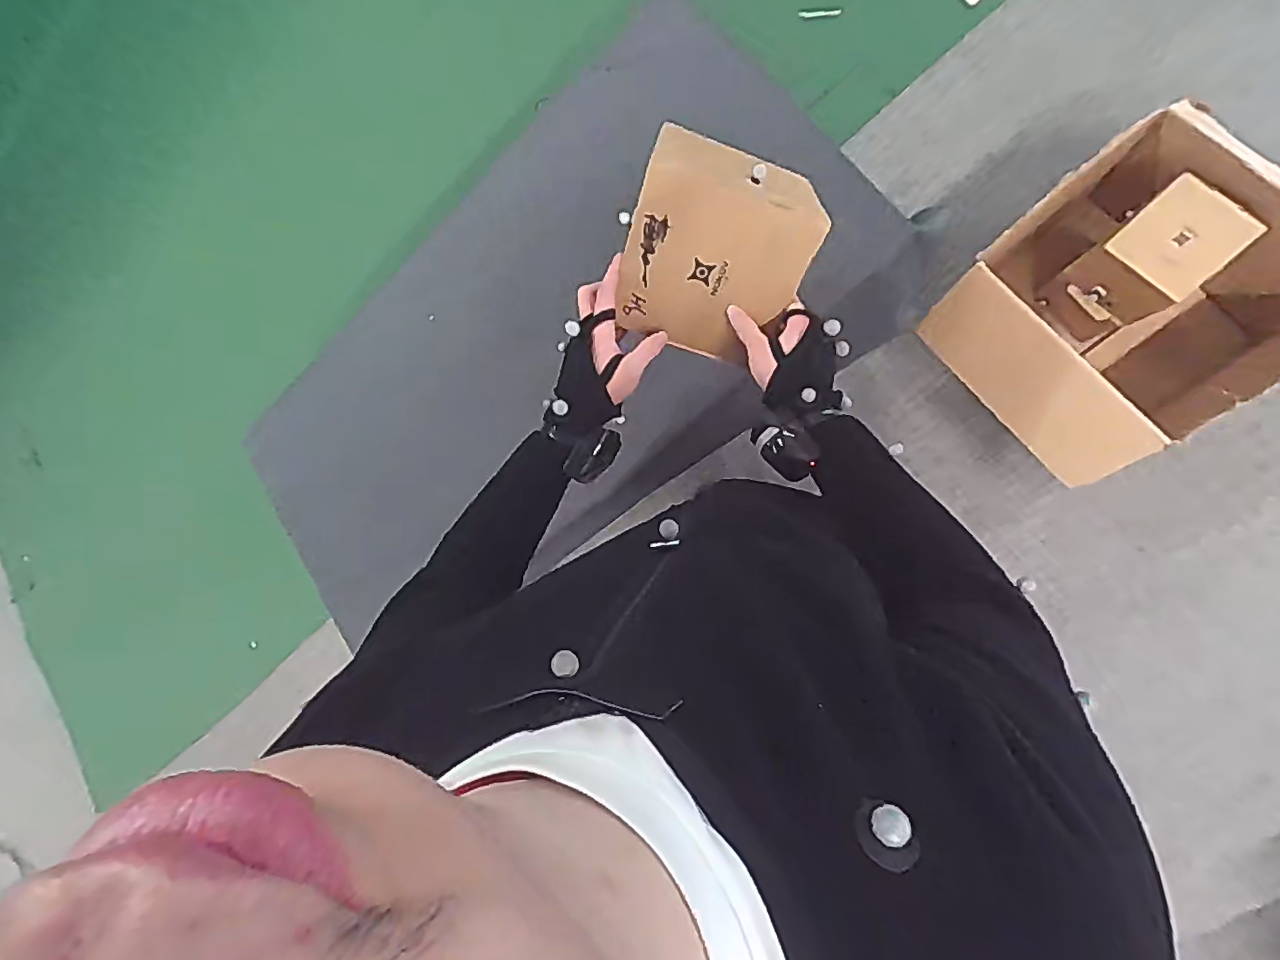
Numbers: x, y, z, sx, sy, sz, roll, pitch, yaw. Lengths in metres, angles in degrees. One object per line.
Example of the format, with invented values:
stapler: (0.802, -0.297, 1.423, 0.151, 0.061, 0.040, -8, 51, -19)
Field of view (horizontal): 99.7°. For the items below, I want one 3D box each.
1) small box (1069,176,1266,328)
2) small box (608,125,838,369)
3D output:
small box: (0.985, -0.424, 1.034, 0.168, 0.176, 0.179, 46, 103, 12)
small box: (0.081, -0.255, 0.586, 0.179, 0.176, 0.168, 18, 131, -9)
